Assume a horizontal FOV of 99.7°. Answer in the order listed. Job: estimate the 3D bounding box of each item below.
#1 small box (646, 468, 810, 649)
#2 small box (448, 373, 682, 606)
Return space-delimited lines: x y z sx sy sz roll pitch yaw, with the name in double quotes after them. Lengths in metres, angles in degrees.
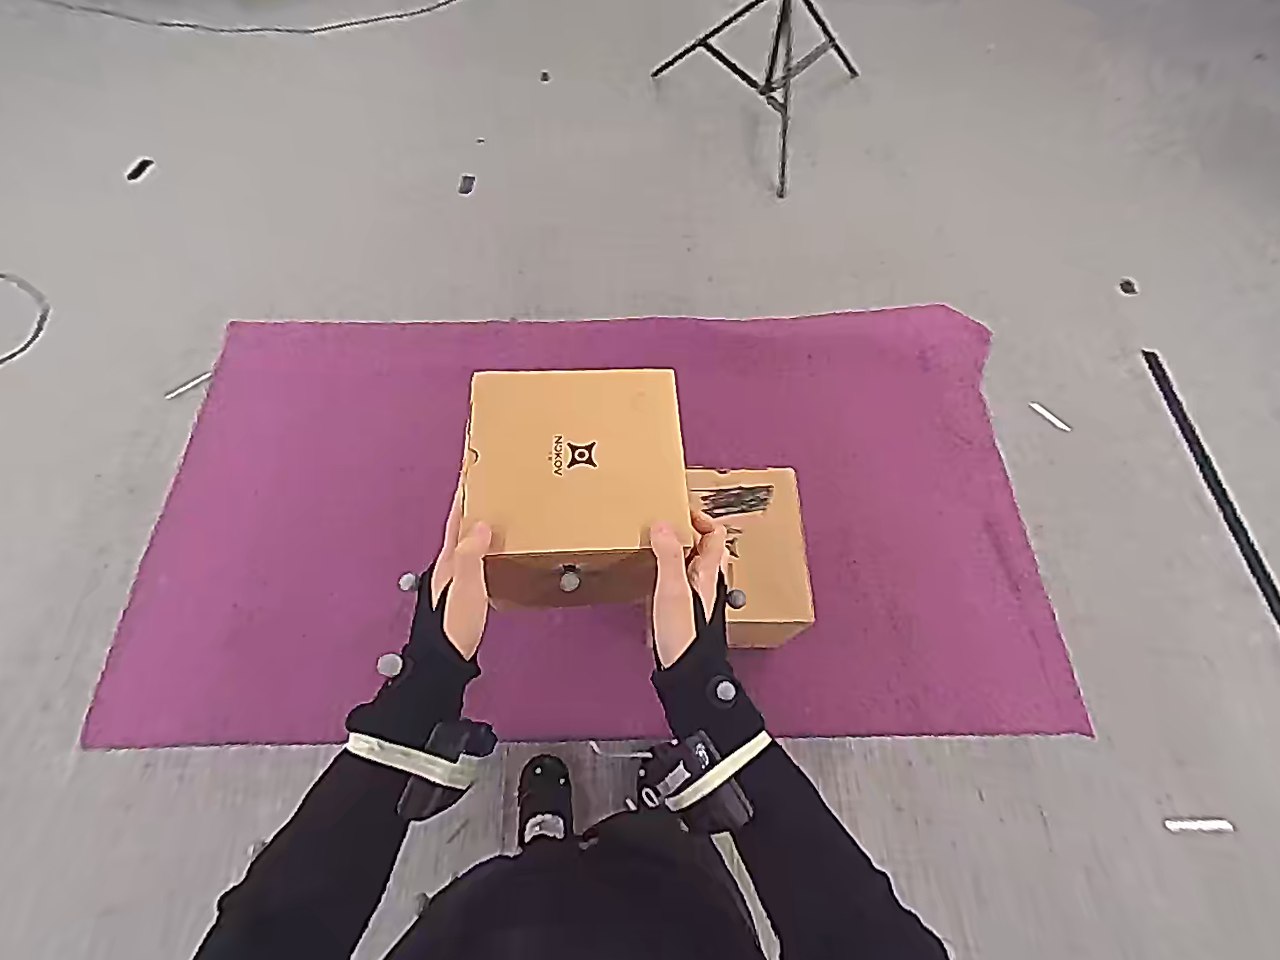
0.092 0.100 0.654 0.168 0.176 0.179 1 65 0 "small box"
-0.064 0.016 0.506 0.179 0.176 0.168 -3 65 -4 "small box"
